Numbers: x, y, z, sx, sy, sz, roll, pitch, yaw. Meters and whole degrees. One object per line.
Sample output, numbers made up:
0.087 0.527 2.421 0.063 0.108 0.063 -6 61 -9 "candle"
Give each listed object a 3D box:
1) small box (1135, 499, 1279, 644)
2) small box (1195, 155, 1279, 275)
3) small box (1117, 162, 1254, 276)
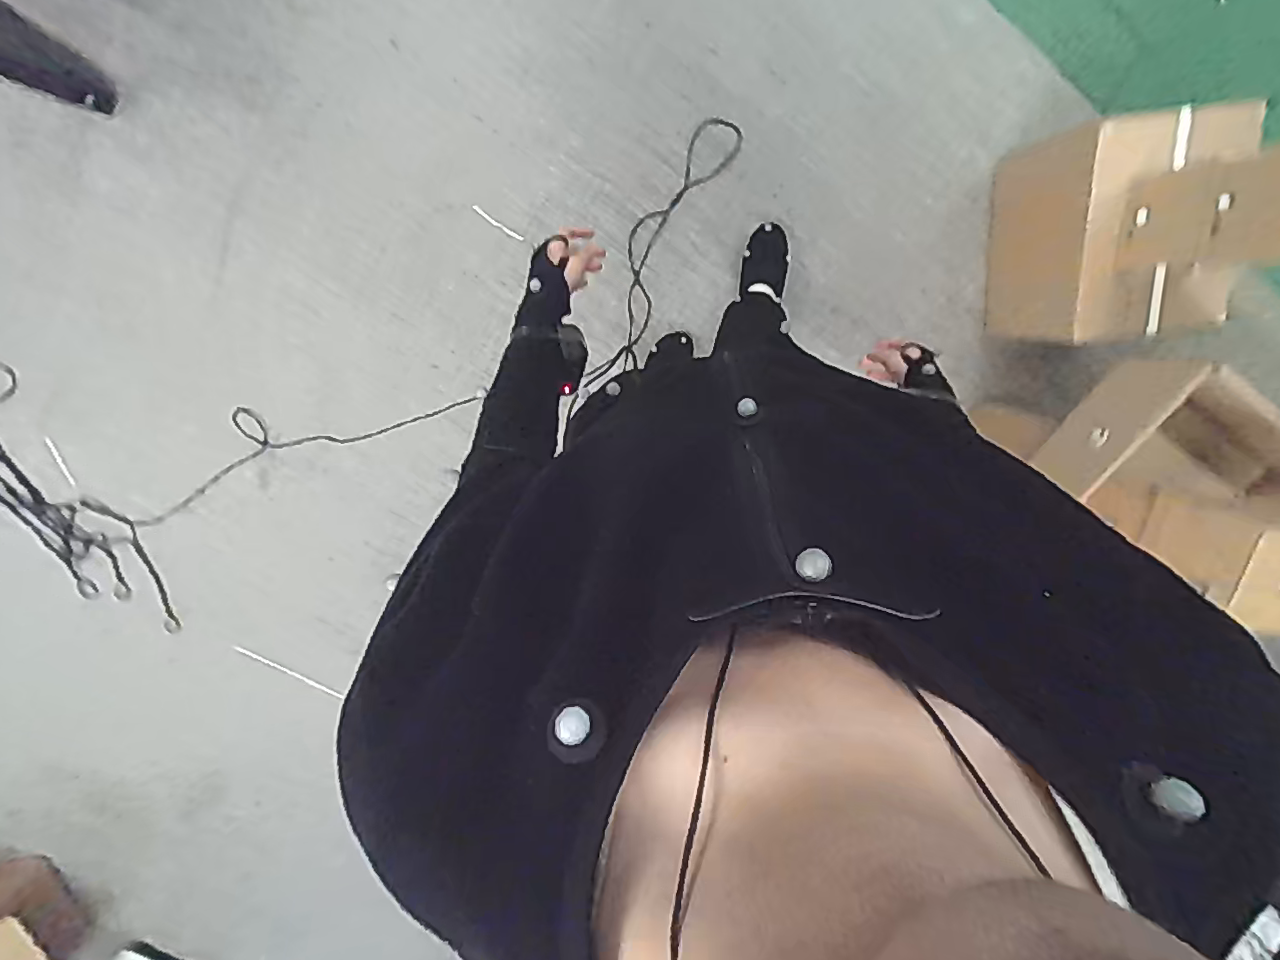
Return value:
0.977 0.146 0.884 0.168 0.176 0.179 5 106 -2 "small box"
1.027 -0.410 0.822 0.179 0.176 0.168 -5 106 1 "small box"
1.032 -0.463 0.976 0.179 0.176 0.168 -2 107 1 "small box"
